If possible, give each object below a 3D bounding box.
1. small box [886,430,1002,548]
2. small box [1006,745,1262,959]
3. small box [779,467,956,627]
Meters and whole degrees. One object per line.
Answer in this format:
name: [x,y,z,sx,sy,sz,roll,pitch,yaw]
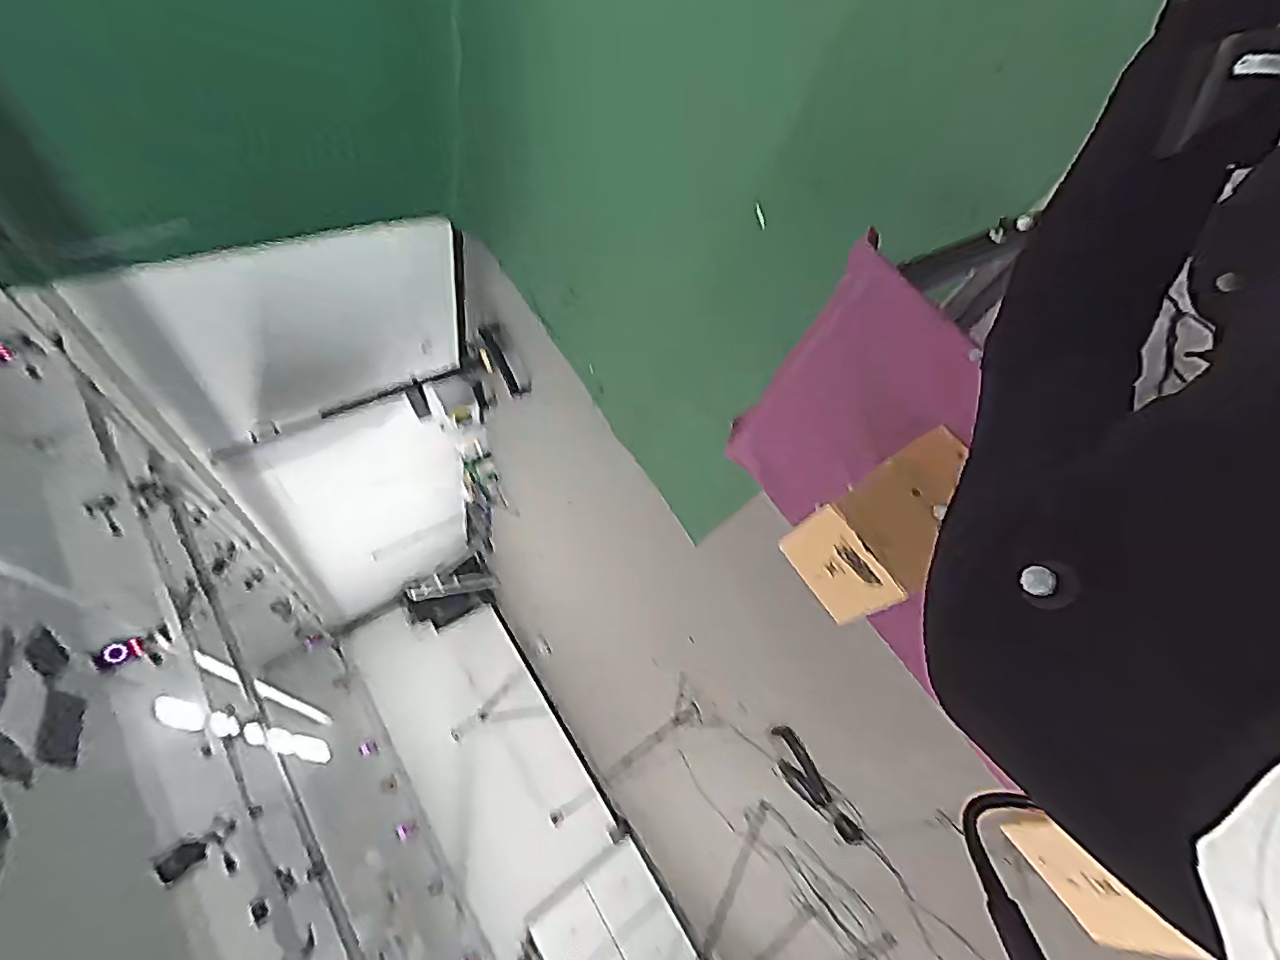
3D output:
small box: [0.495,0.041,0.954,0.168,0.176,0.179,52,152,18]
small box: [0.651,0.481,0.718,0.168,0.176,0.179,52,150,21]
small box: [0.368,0.106,0.871,0.168,0.176,0.179,54,153,15]
